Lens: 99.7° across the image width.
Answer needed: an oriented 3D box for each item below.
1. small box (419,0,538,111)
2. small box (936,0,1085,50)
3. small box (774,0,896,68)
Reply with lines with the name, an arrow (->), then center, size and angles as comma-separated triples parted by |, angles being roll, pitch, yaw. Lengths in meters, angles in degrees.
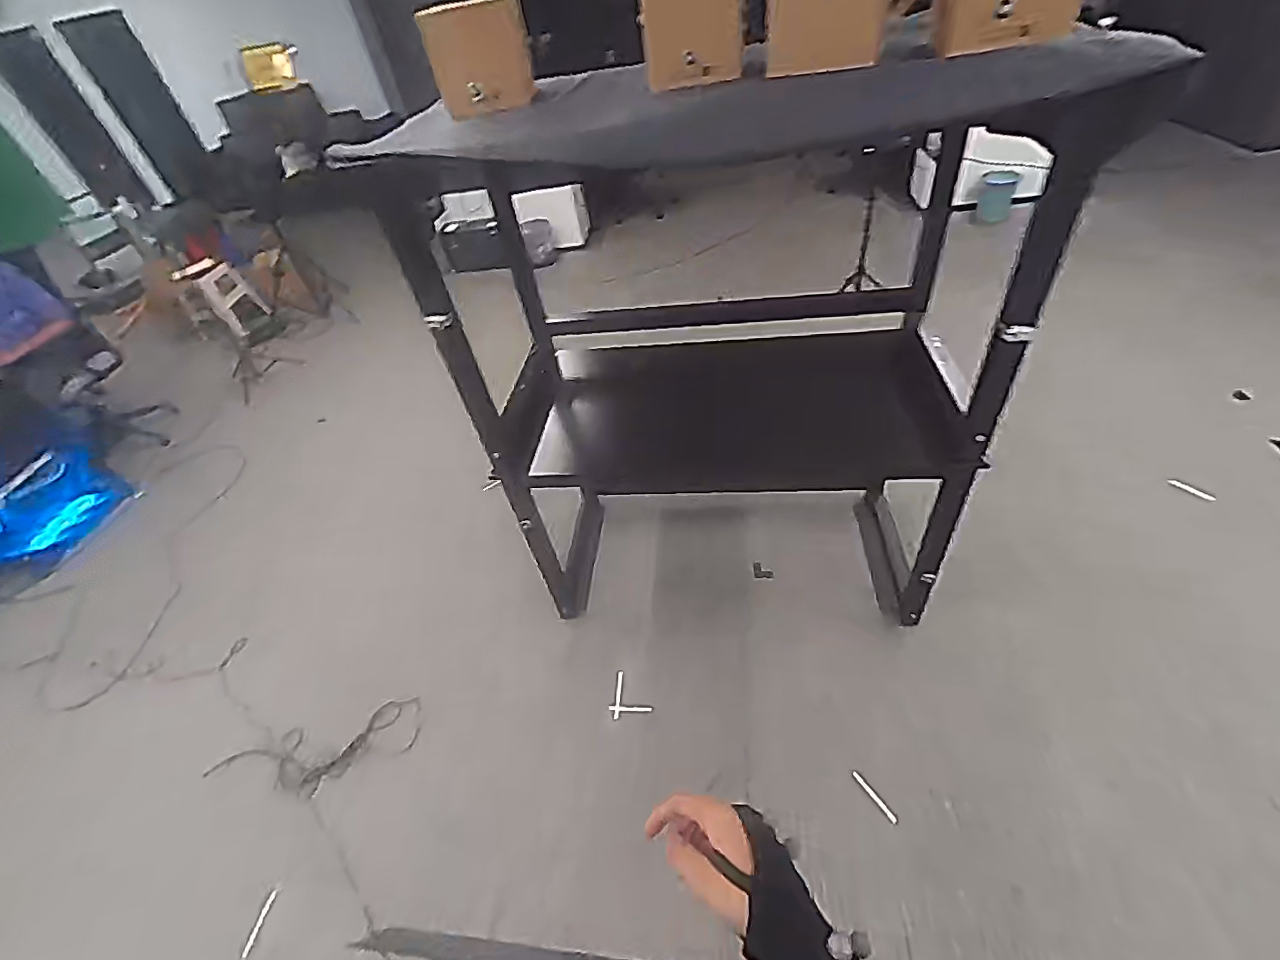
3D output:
small box -> -0.307, -0.854, 1.074 | 0.168, 0.176, 0.179 | -8, 44, 4
small box -> 0.559, -0.765, 0.807 | 0.168, 0.176, 0.179 | 2, 46, 14
small box -> 0.324, -0.797, 0.887 | 0.179, 0.176, 0.168 | 11, 48, 21
